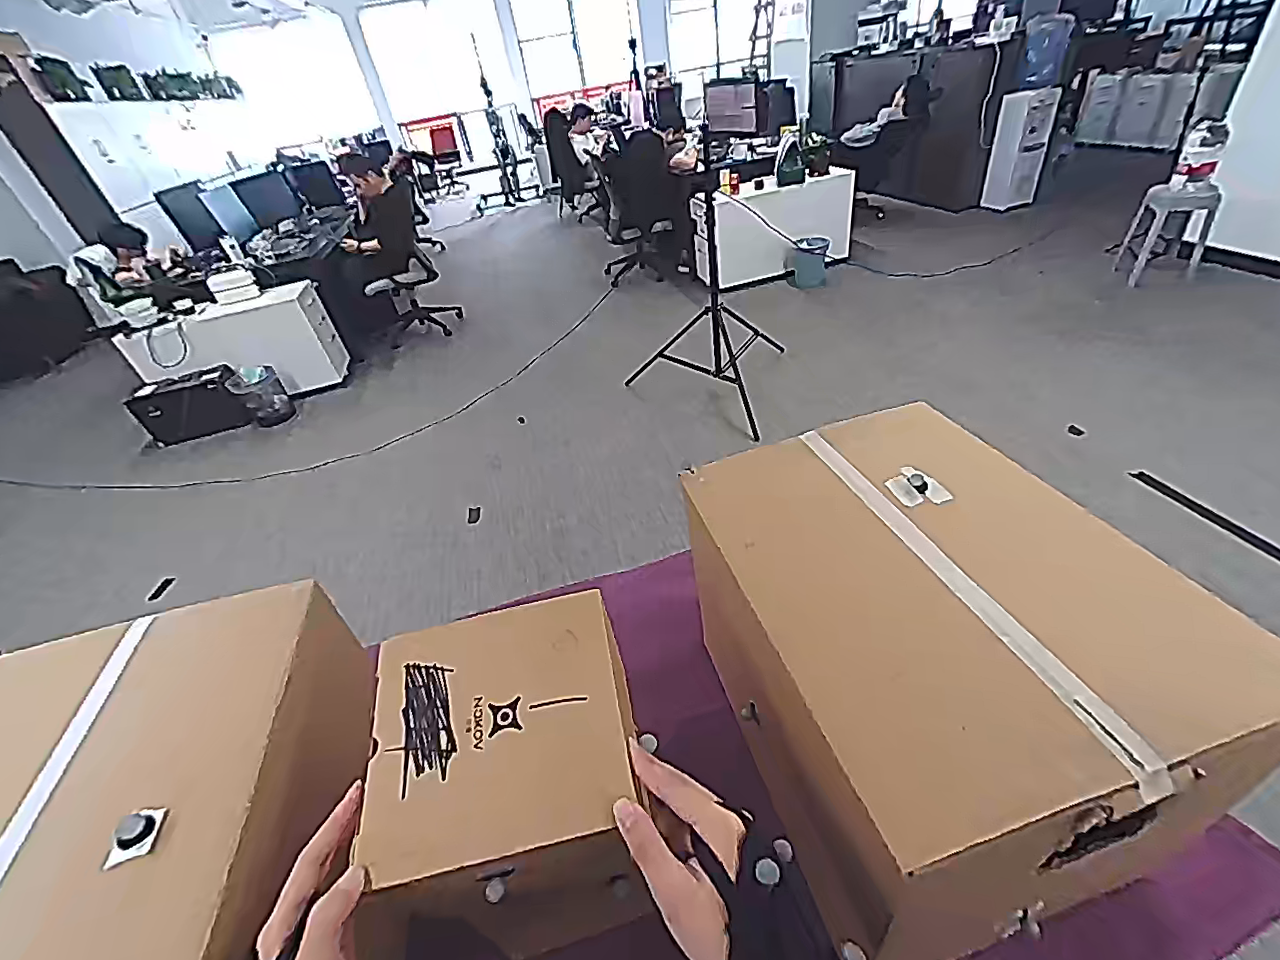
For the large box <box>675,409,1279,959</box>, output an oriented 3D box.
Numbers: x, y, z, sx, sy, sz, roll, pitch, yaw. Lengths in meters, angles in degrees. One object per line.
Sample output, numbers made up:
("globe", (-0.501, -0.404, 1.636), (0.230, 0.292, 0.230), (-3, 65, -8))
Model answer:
("large box", (0.261, 0.182, 0.557), (0.320, 0.320, 0.408), (-16, 36, -8))
